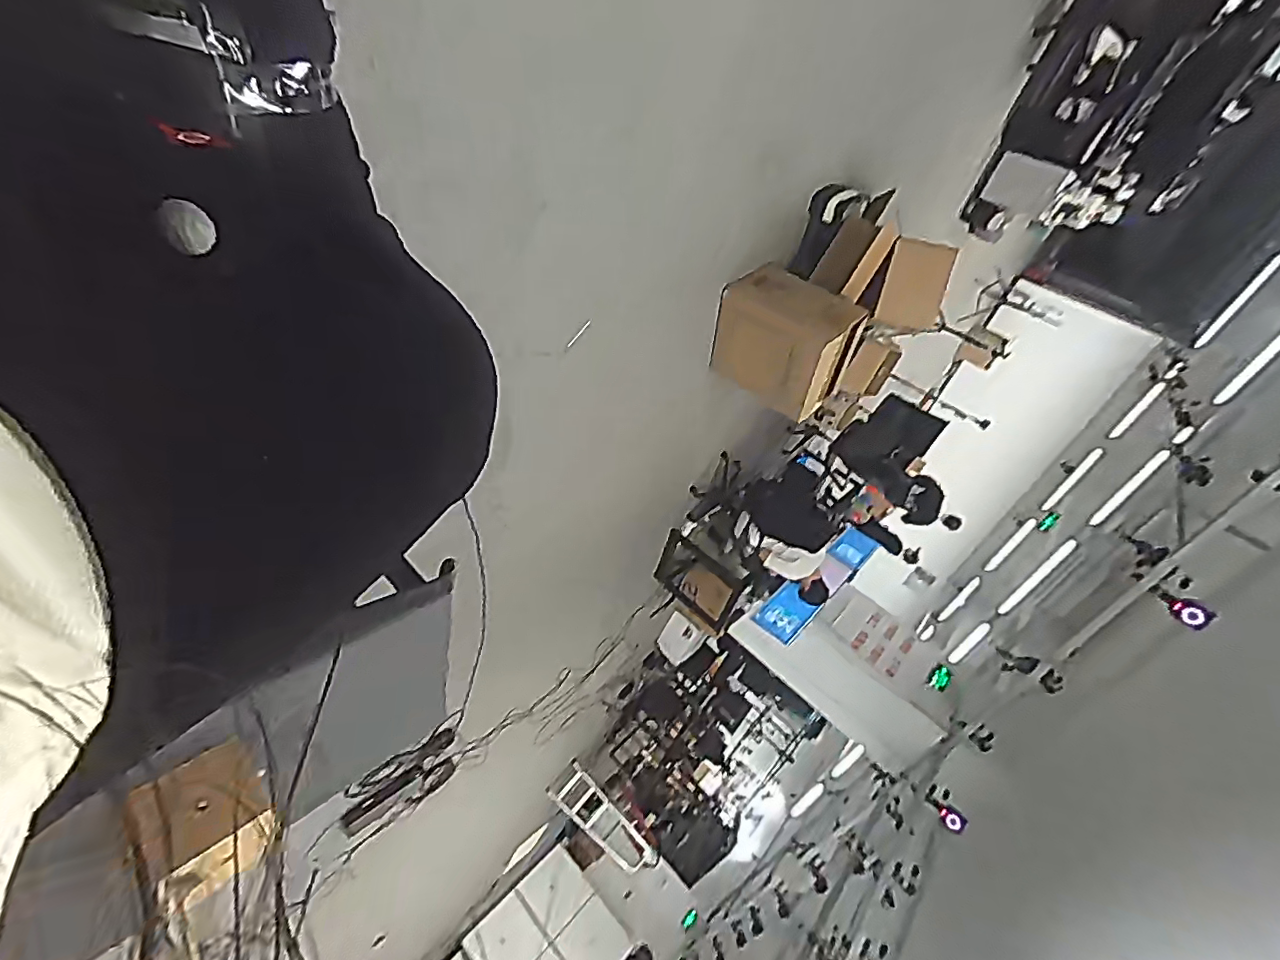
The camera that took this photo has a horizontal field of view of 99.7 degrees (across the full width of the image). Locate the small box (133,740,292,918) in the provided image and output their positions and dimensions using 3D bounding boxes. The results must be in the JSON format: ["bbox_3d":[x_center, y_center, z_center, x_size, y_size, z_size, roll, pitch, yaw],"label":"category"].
[{"bbox_3d":[-0.766,0.617,0.971,0.179,0.176,0.168,-27,145,-44],"label":"small box"}]
